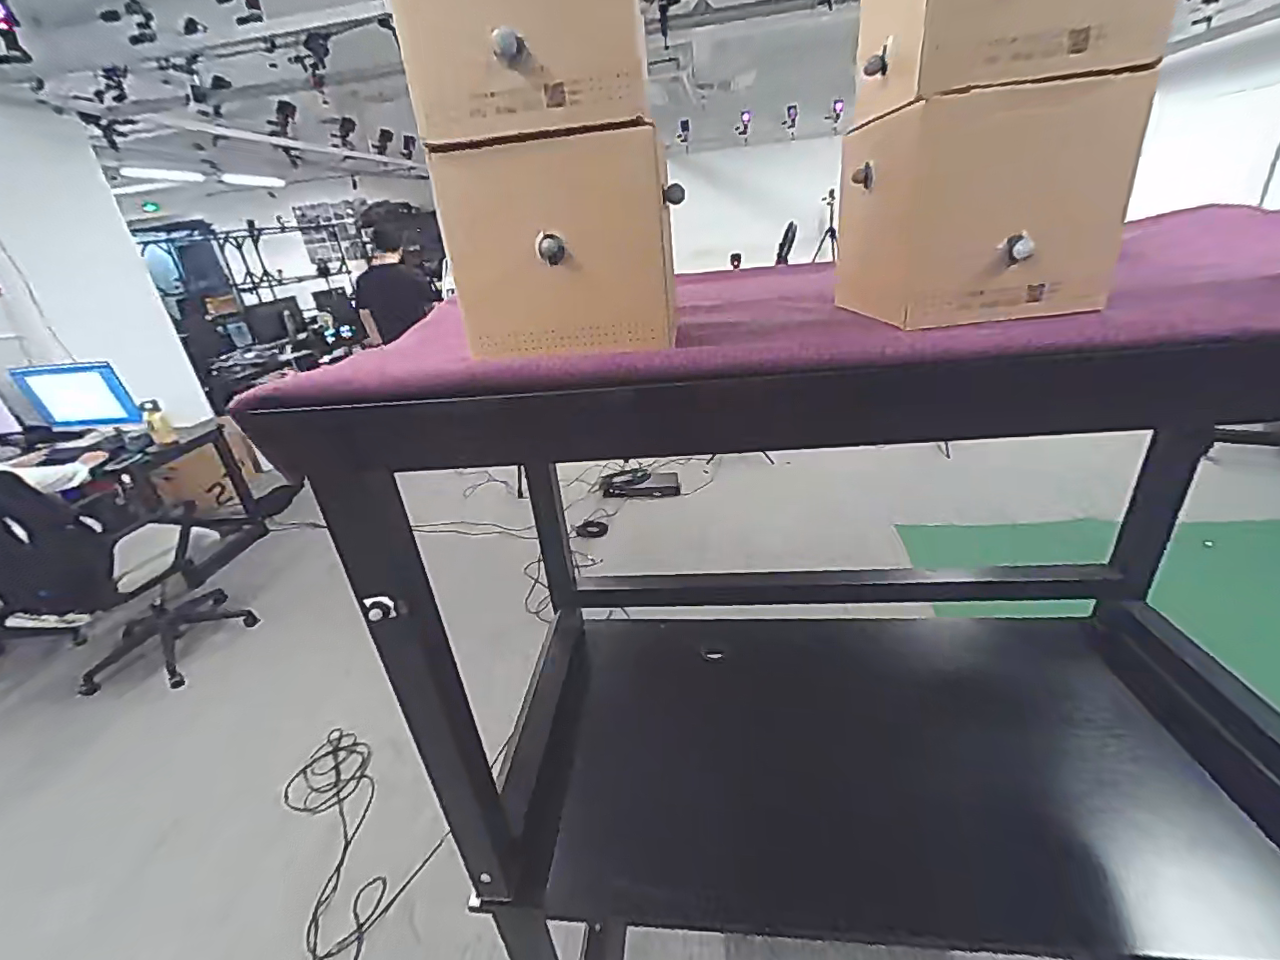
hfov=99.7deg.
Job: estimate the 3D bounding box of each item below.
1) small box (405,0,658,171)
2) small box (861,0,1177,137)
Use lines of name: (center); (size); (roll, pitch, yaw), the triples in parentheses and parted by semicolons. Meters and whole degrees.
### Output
small box: (-0.076, -0.351, 0.426); (0.168, 0.176, 0.179); (-4, 25, 5)
small box: (0.285, -0.387, 0.425); (0.168, 0.176, 0.179); (-3, 26, 6)
